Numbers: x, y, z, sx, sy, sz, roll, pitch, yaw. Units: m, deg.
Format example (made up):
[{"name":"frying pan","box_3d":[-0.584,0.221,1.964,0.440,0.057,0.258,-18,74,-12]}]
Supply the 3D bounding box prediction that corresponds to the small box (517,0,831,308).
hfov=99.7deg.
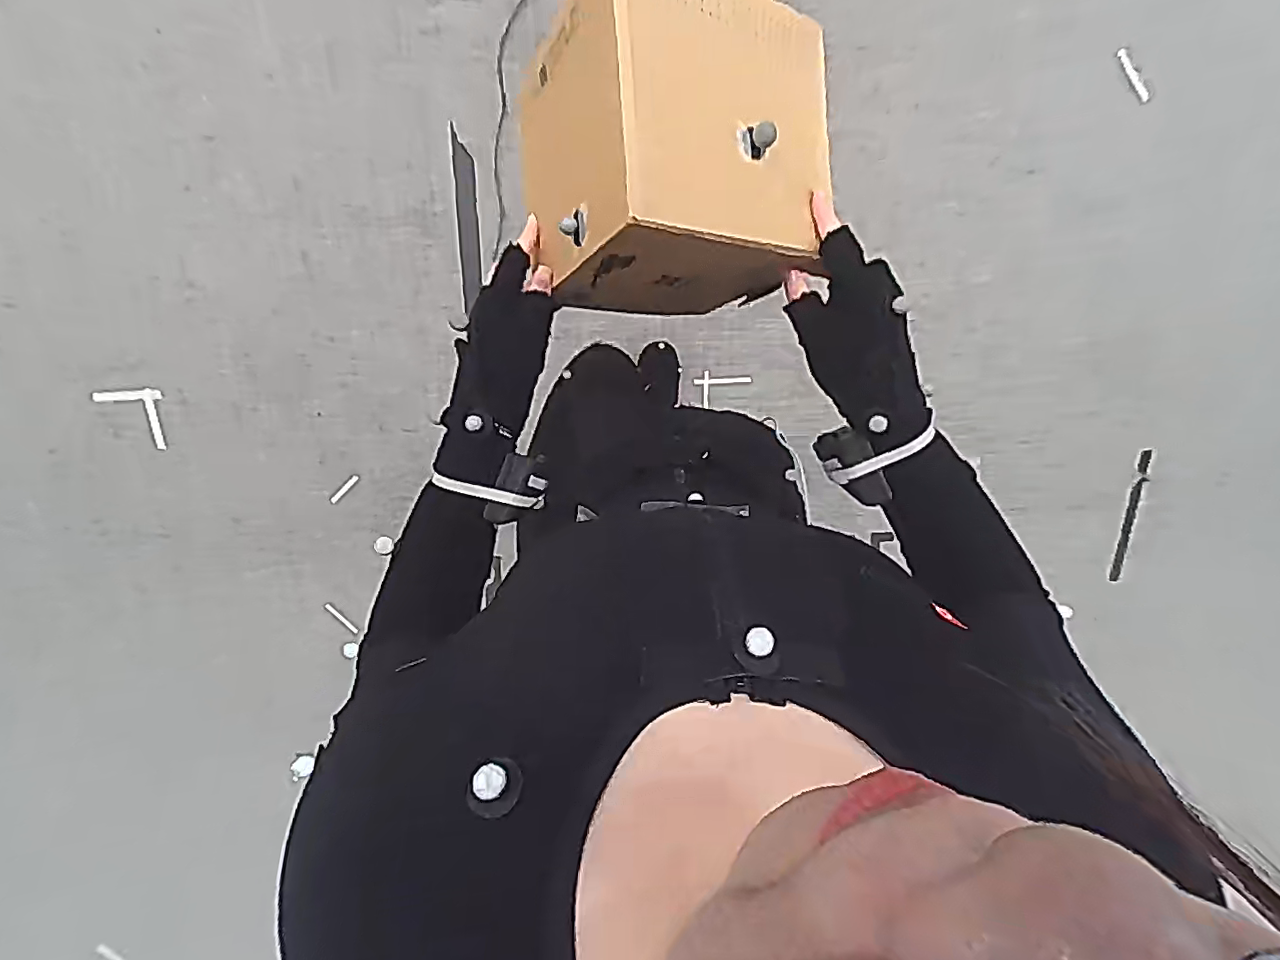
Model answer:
[{"name":"small box","box_3d":[0.020,-0.241,0.413,0.179,0.168,0.176,-7,93,-30]}]
